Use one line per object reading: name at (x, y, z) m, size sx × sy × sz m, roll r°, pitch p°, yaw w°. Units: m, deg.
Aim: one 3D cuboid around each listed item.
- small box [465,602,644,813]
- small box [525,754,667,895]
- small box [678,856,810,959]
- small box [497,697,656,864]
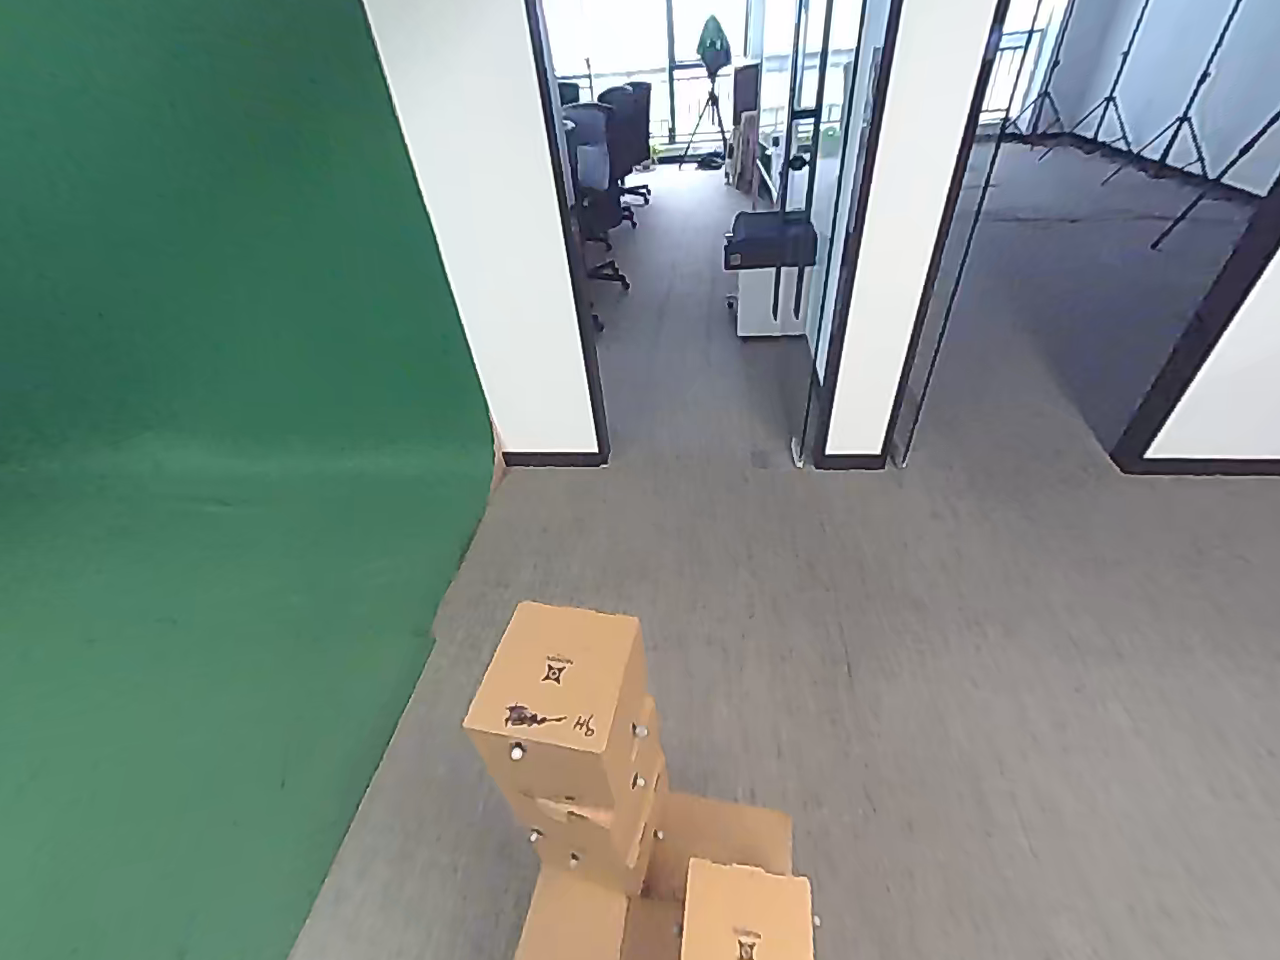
small box at (-0.093, 0.287, 0.693) m, size 0.168 × 0.176 × 0.179 m, roll 5°, pitch 40°, yaw 13°
small box at (-0.062, 0.547, 0.893) m, size 0.179 × 0.176 × 0.168 m, roll 9°, pitch 42°, yaw 16°
small box at (0.140, 0.654, 0.738) m, size 0.168 × 0.176 × 0.179 m, roll 3°, pitch 40°, yaw 10°
small box at (-0.078, 0.419, 0.791) m, size 0.168 × 0.176 × 0.179 m, roll 10°, pitch 40°, yaw 18°
